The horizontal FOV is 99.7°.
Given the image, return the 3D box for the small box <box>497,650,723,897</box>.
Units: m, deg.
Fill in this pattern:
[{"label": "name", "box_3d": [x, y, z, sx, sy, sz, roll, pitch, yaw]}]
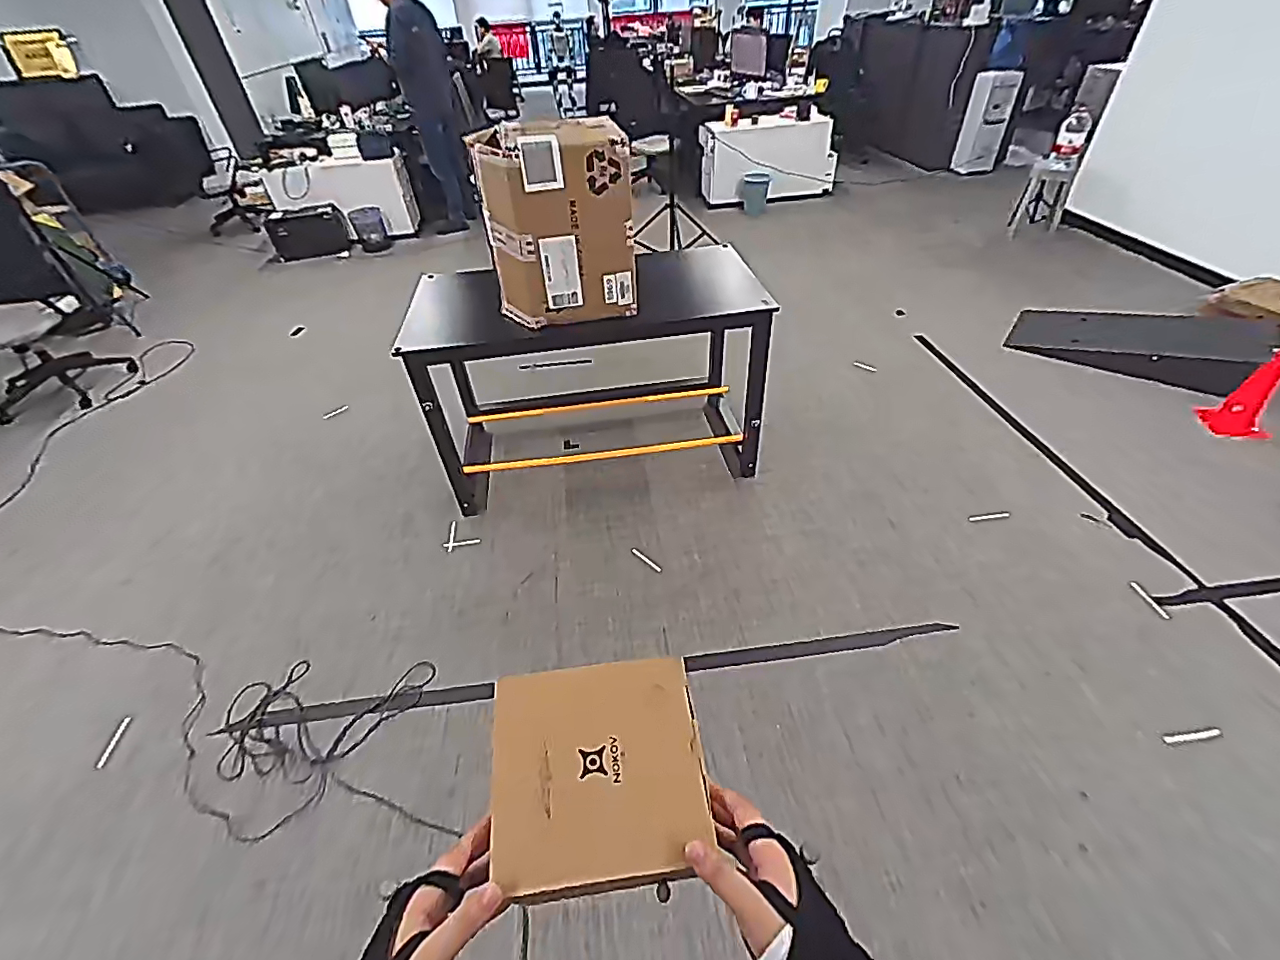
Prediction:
[{"label": "small box", "box_3d": [-0.031, 0.284, 0.521, 0.179, 0.176, 0.168, -7, 50, -5]}]
